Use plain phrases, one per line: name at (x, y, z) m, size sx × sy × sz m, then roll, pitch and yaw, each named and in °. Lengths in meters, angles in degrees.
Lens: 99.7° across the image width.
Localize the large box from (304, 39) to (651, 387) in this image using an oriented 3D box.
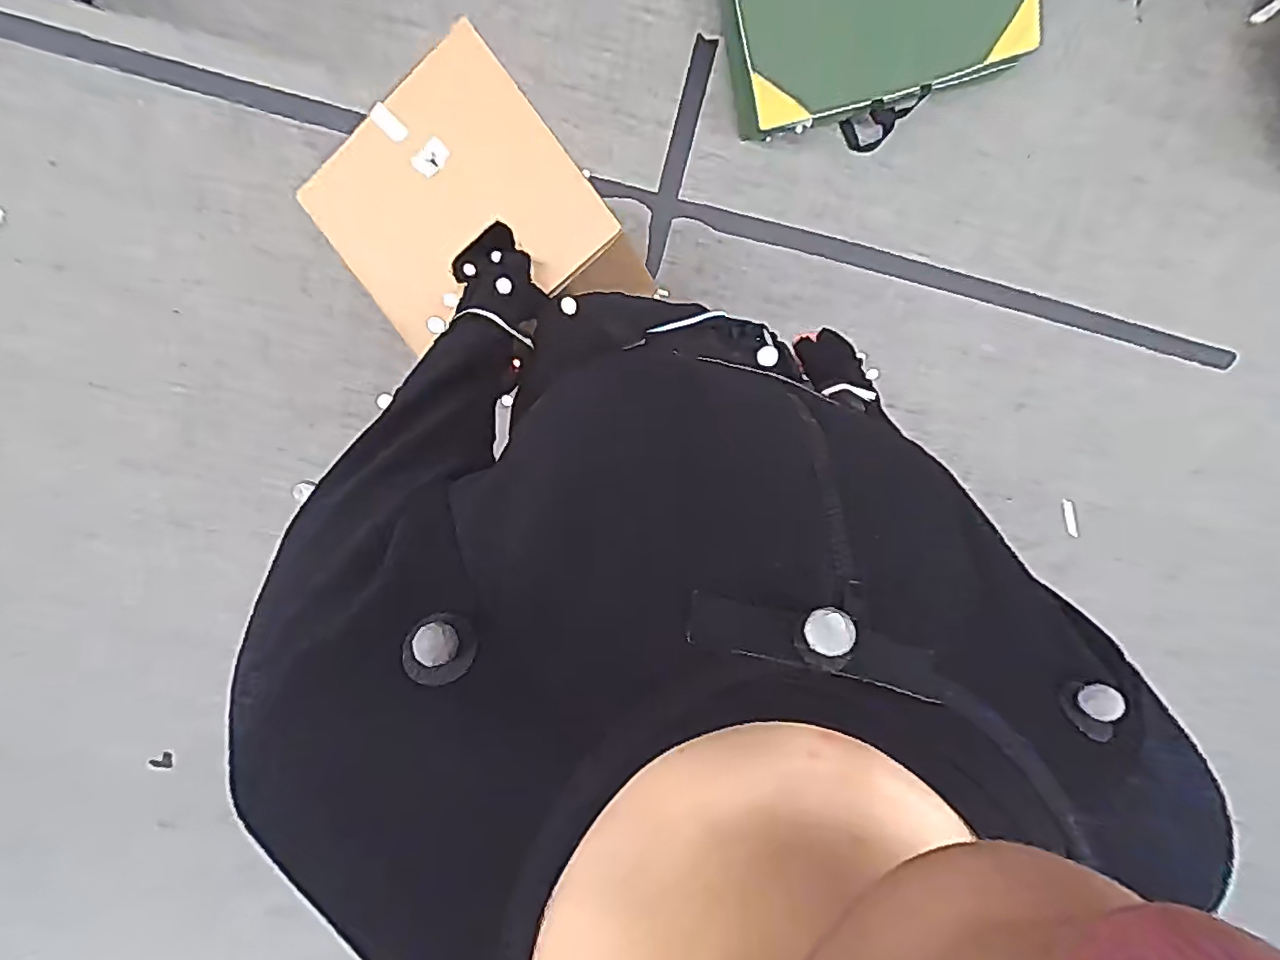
large box at (-0.217, -0.370, 0.878) m, size 0.320 × 0.408 × 0.320 m, roll -36°, pitch 93°, yaw 13°
